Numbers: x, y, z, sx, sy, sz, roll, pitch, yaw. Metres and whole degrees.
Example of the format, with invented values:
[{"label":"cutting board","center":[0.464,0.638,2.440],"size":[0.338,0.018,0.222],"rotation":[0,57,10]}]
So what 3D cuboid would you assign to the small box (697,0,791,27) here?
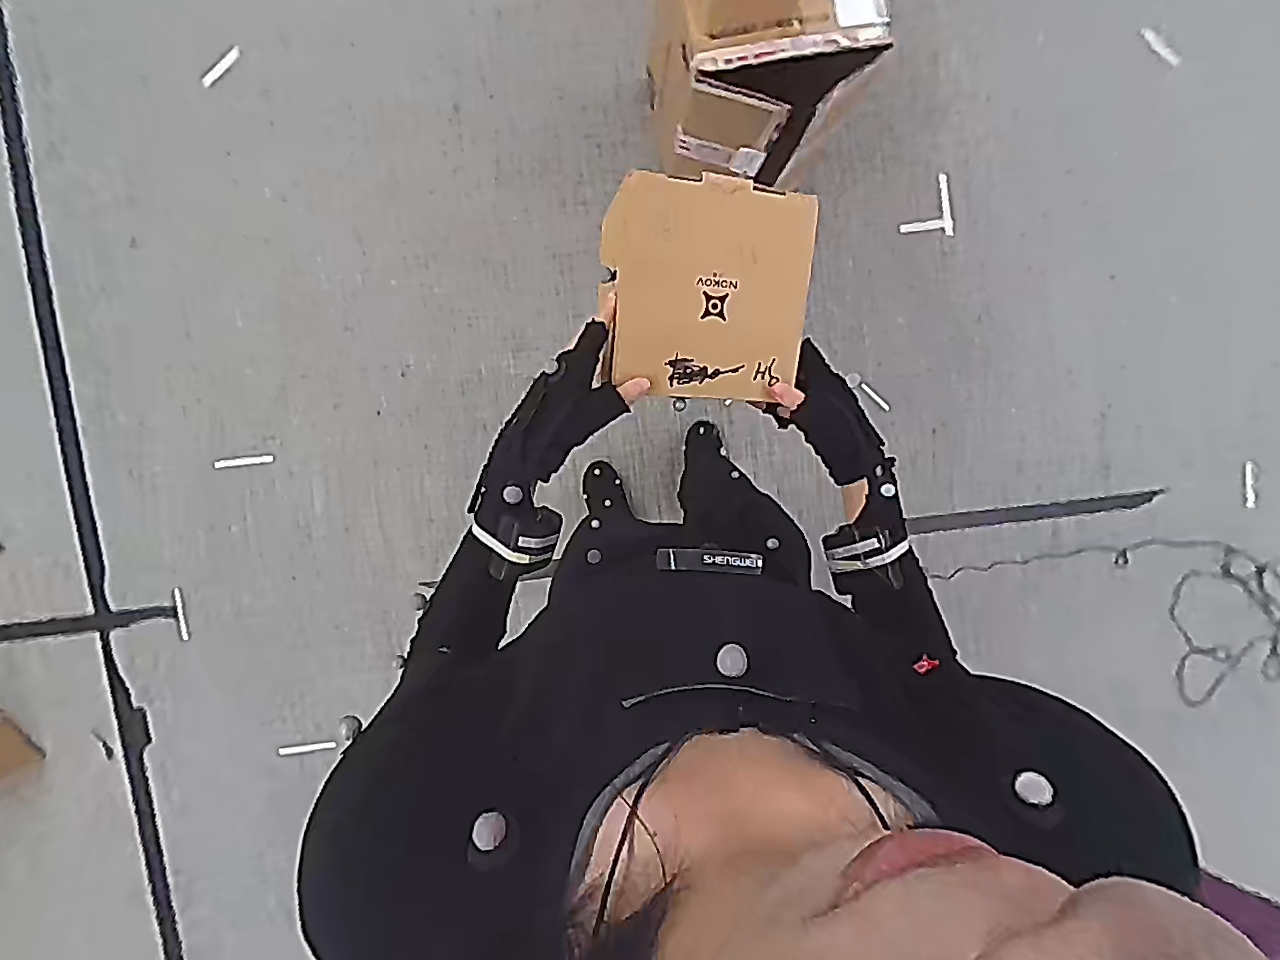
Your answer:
[{"label":"small box","center":[0.182,-0.920,0.915],"size":[0.179,0.176,0.168],"rotation":[-14,92,-2]}]

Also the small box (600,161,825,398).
[{"label":"small box","center":[0.054,-0.179,0.530],"size":[0.168,0.176,0.179],"rotation":[2,103,-11]}]
